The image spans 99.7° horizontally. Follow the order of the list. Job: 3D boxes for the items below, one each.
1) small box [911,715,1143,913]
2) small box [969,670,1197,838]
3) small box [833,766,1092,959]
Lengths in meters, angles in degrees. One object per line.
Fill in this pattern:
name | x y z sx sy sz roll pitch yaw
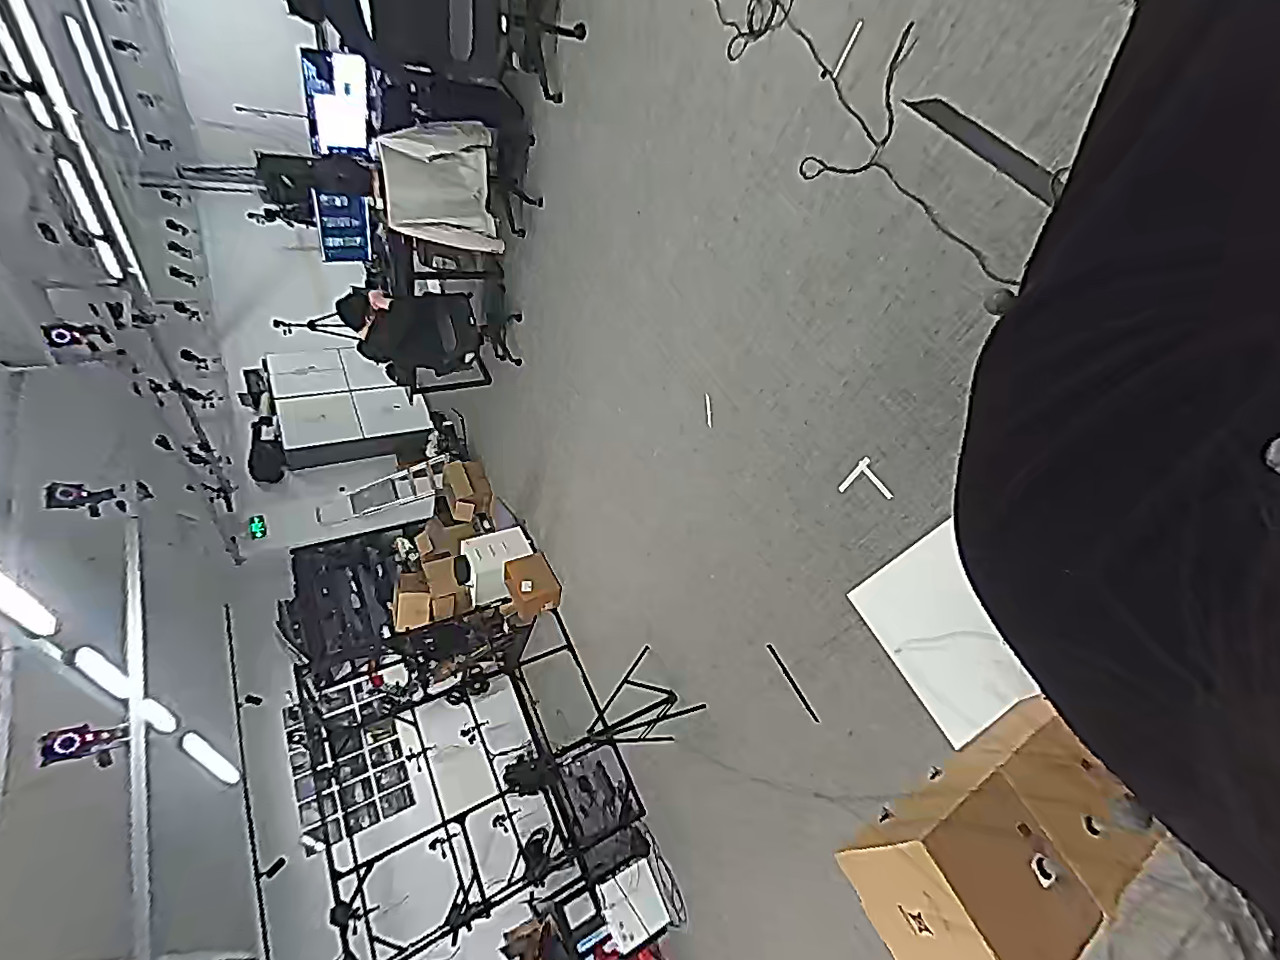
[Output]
small box | 0.521 0.446 0.733 0.168 0.176 0.179 60 147 27
small box | 0.659 0.413 0.813 0.168 0.176 0.179 61 148 26
small box | 0.382 0.480 0.655 0.168 0.176 0.179 59 146 27
